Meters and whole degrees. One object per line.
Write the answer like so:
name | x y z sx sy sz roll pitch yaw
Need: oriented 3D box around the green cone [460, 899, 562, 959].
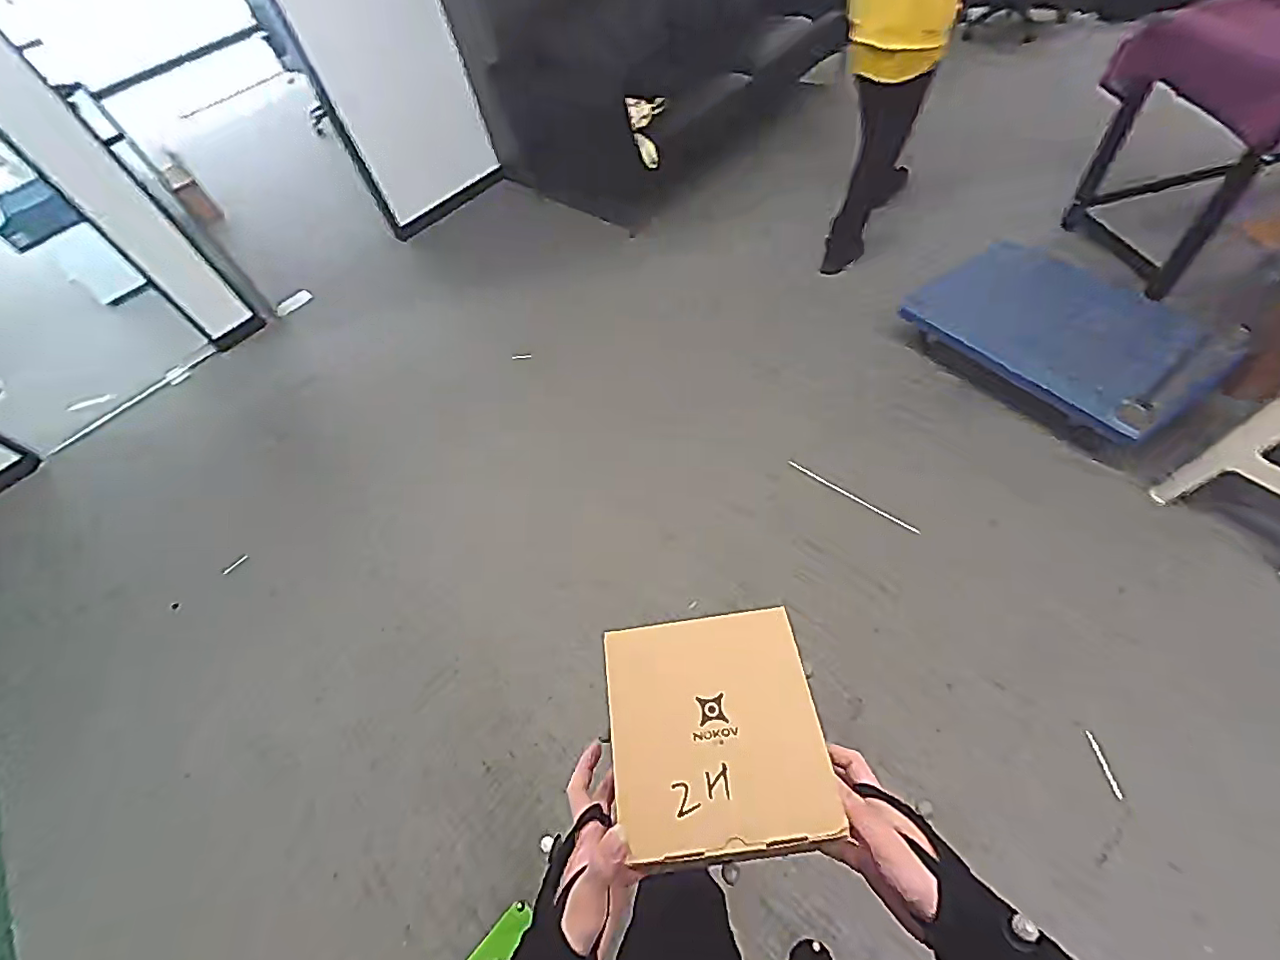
green cone | -0.325 1.028 1.099 0.202 0.368 0.200 36 69 29

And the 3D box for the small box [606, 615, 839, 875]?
small box | 0.062 0.249 0.503 0.168 0.176 0.179 -8 52 1
